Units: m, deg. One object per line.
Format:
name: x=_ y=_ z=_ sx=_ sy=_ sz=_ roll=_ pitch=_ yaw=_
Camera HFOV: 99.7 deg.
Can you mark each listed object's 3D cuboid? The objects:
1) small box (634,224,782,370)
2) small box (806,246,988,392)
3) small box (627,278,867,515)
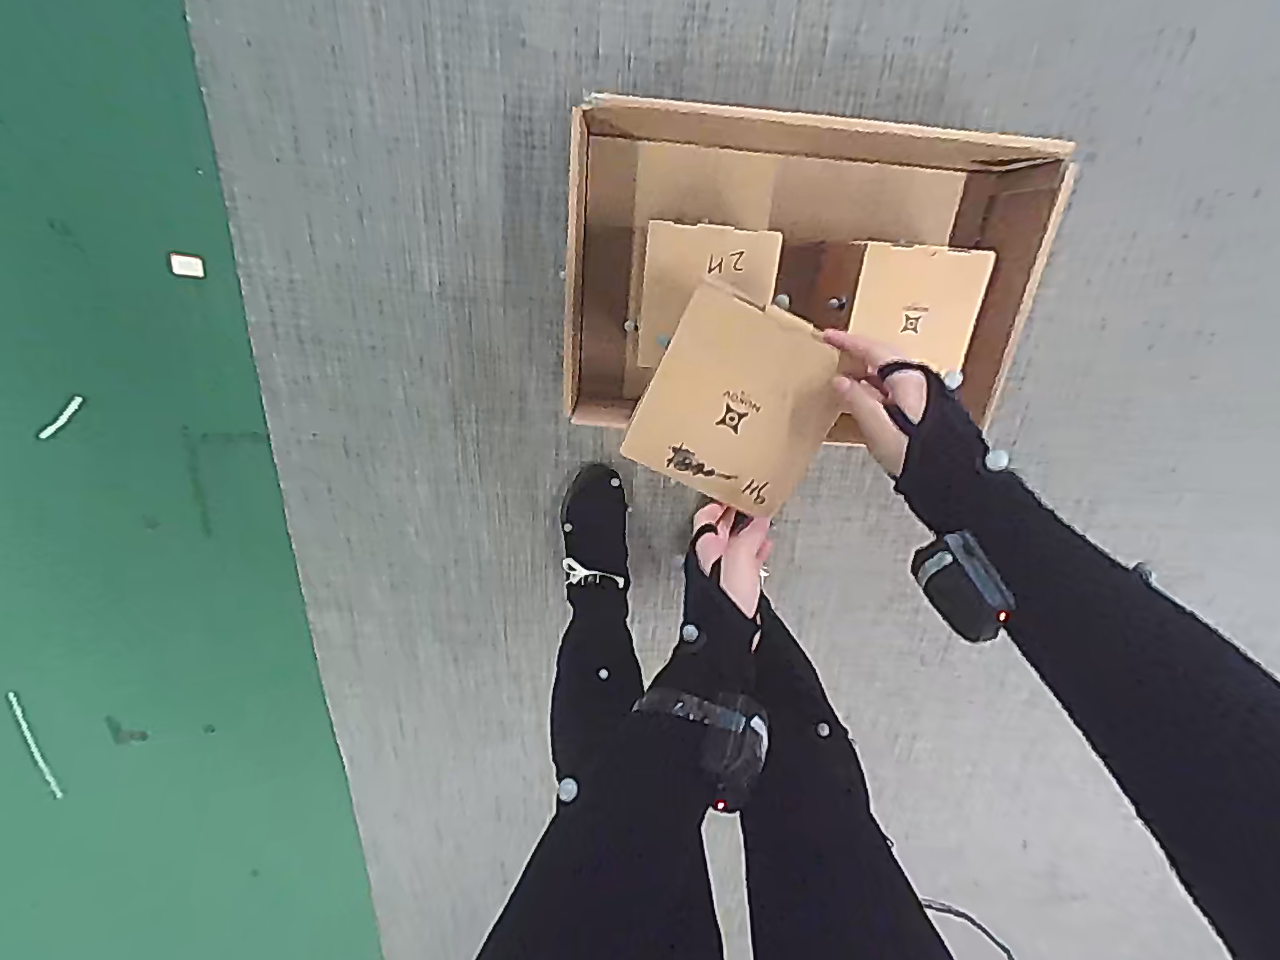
small box: x=0.082 y=-0.253 z=0.760 sx=0.168 sy=0.176 sz=0.179 roll=4 pitch=113 yaw=-5
small box: x=0.350 y=-0.237 z=0.781 sx=0.168 sy=0.176 sz=0.179 roll=3 pitch=113 yaw=-3
small box: x=0.100 y=-0.099 z=0.573 sx=0.168 sy=0.176 sz=0.179 roll=24 pitch=112 yaw=-4
